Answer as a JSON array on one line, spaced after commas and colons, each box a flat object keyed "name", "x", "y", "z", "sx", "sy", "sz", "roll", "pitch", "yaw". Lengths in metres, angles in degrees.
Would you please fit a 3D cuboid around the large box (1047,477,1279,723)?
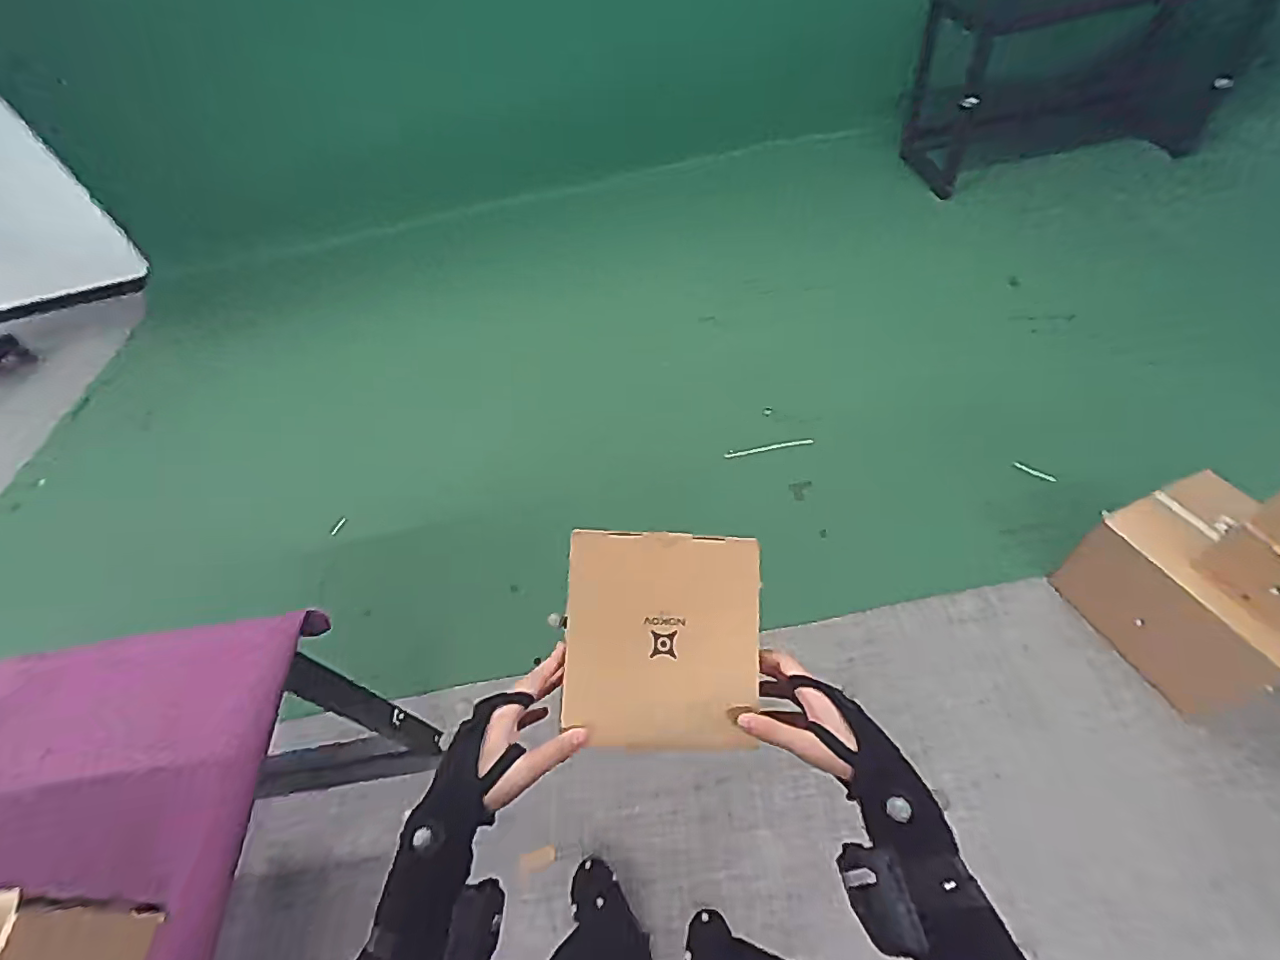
[{"name": "large box", "x": 1.297, "y": 0.275, "z": 1.263, "sx": 0.320, "sy": 0.320, "sz": 0.408, "roll": -21, "pitch": 49, "yaw": -8}]

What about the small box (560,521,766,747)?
[{"name": "small box", "x": 0.016, "y": 0.141, "z": 0.530, "sx": 0.168, "sy": 0.176, "sz": 0.179, "roll": 5, "pitch": 78, "yaw": -6}]

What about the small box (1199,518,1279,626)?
[{"name": "small box", "x": 1.261, "y": 0.156, "z": 1.049, "sx": 0.179, "sy": 0.176, "sz": 0.168, "roll": -22, "pitch": 51, "yaw": -6}]

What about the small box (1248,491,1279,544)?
[{"name": "small box", "x": 1.239, "y": 0.056, "z": 0.922, "sx": 0.168, "sy": 0.176, "sz": 0.179, "roll": -23, "pitch": 50, "yaw": -7}]
